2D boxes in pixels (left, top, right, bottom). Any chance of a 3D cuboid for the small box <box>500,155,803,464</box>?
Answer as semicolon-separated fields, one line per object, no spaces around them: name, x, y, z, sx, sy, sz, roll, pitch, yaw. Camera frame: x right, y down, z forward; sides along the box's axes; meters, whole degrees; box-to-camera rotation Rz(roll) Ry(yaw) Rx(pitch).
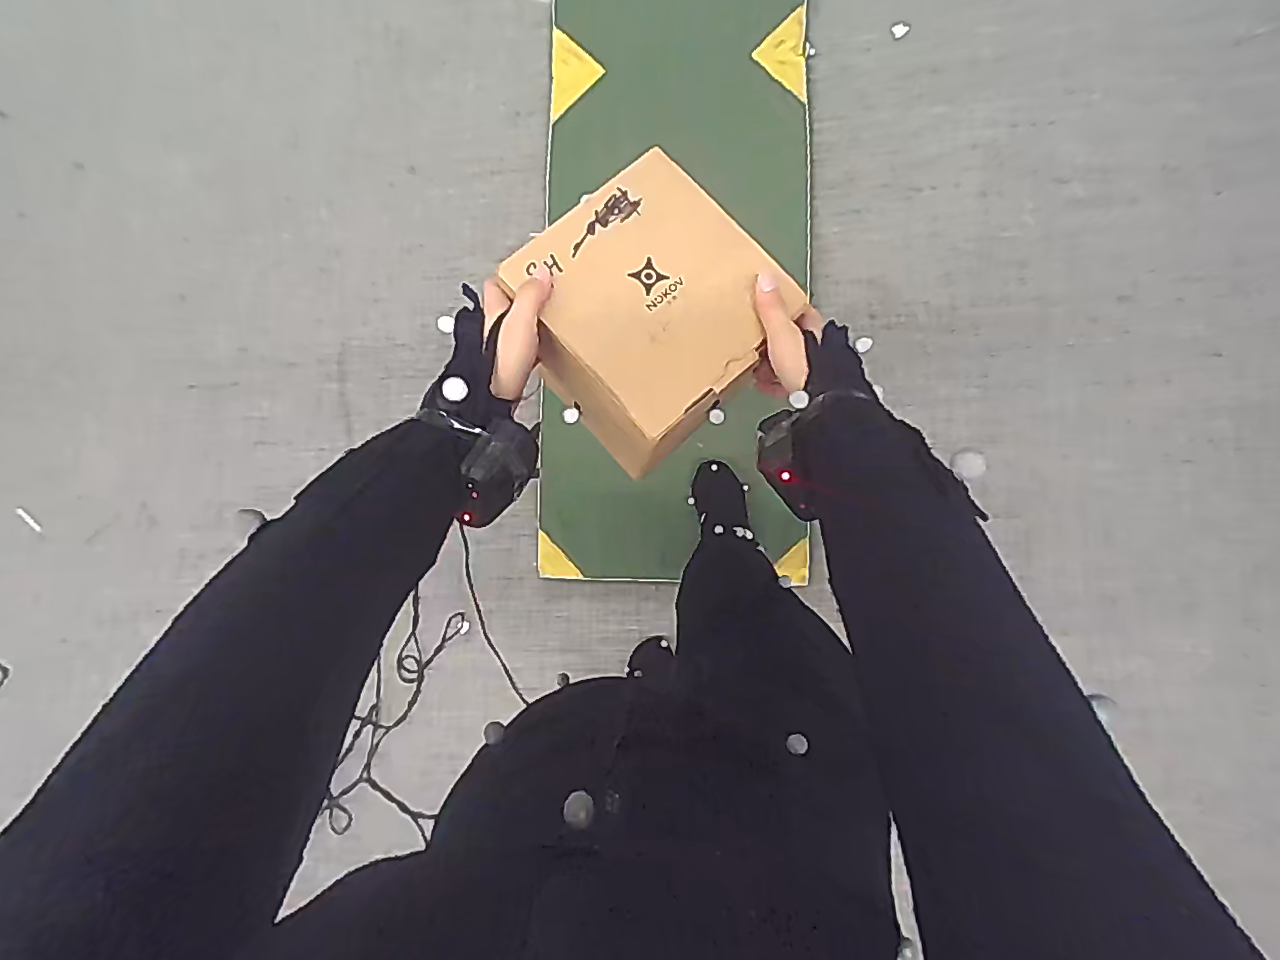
small box;0.004;-0.130;0.487;0.168;0.176;0.179;-42;87;-11
